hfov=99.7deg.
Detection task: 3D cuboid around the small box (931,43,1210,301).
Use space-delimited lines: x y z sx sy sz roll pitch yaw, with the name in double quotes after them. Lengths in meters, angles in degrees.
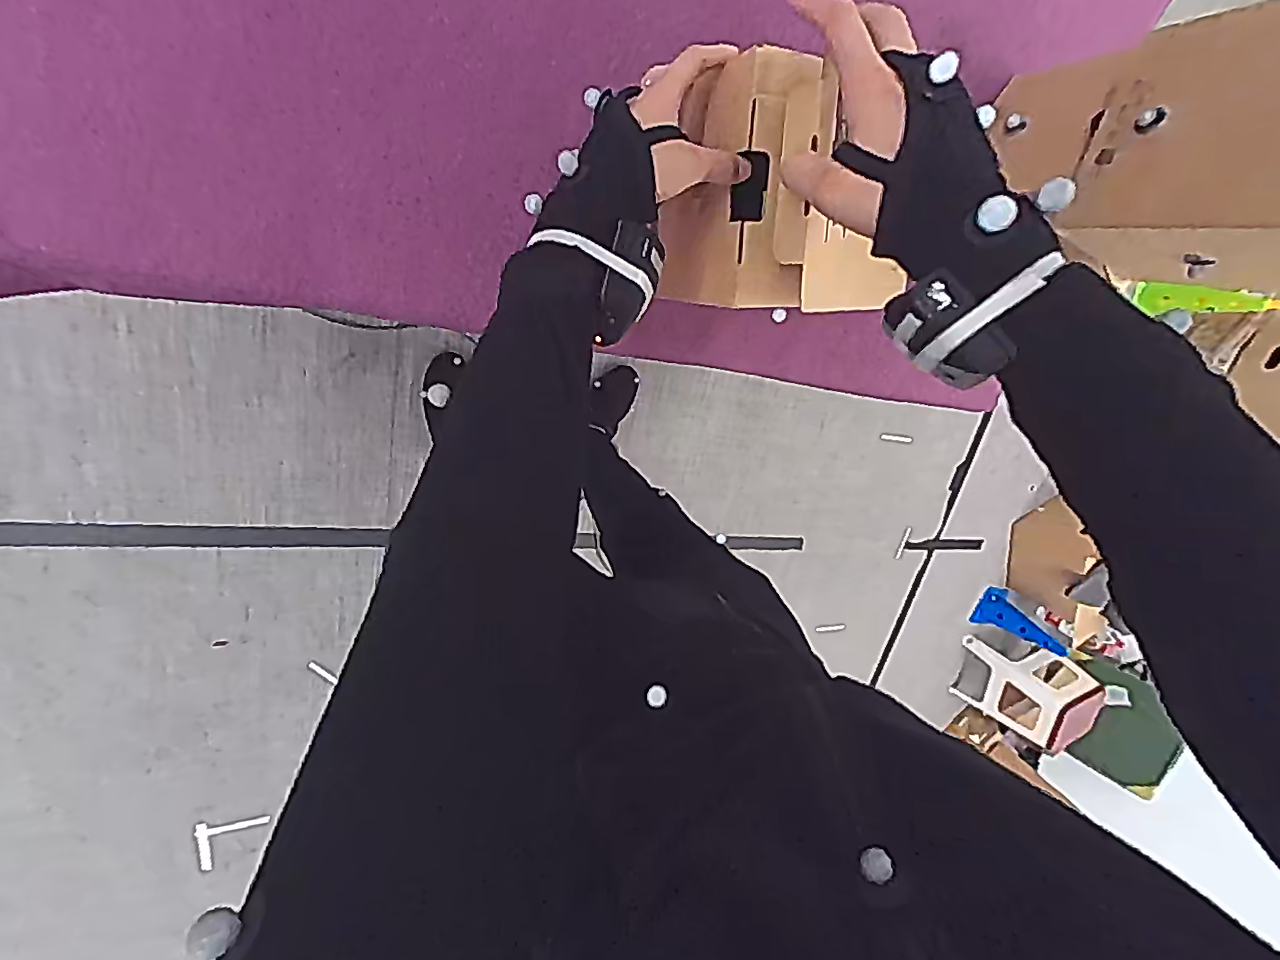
0.480 -0.333 0.616 0.179 0.176 0.168 31 96 -33 "small box"
